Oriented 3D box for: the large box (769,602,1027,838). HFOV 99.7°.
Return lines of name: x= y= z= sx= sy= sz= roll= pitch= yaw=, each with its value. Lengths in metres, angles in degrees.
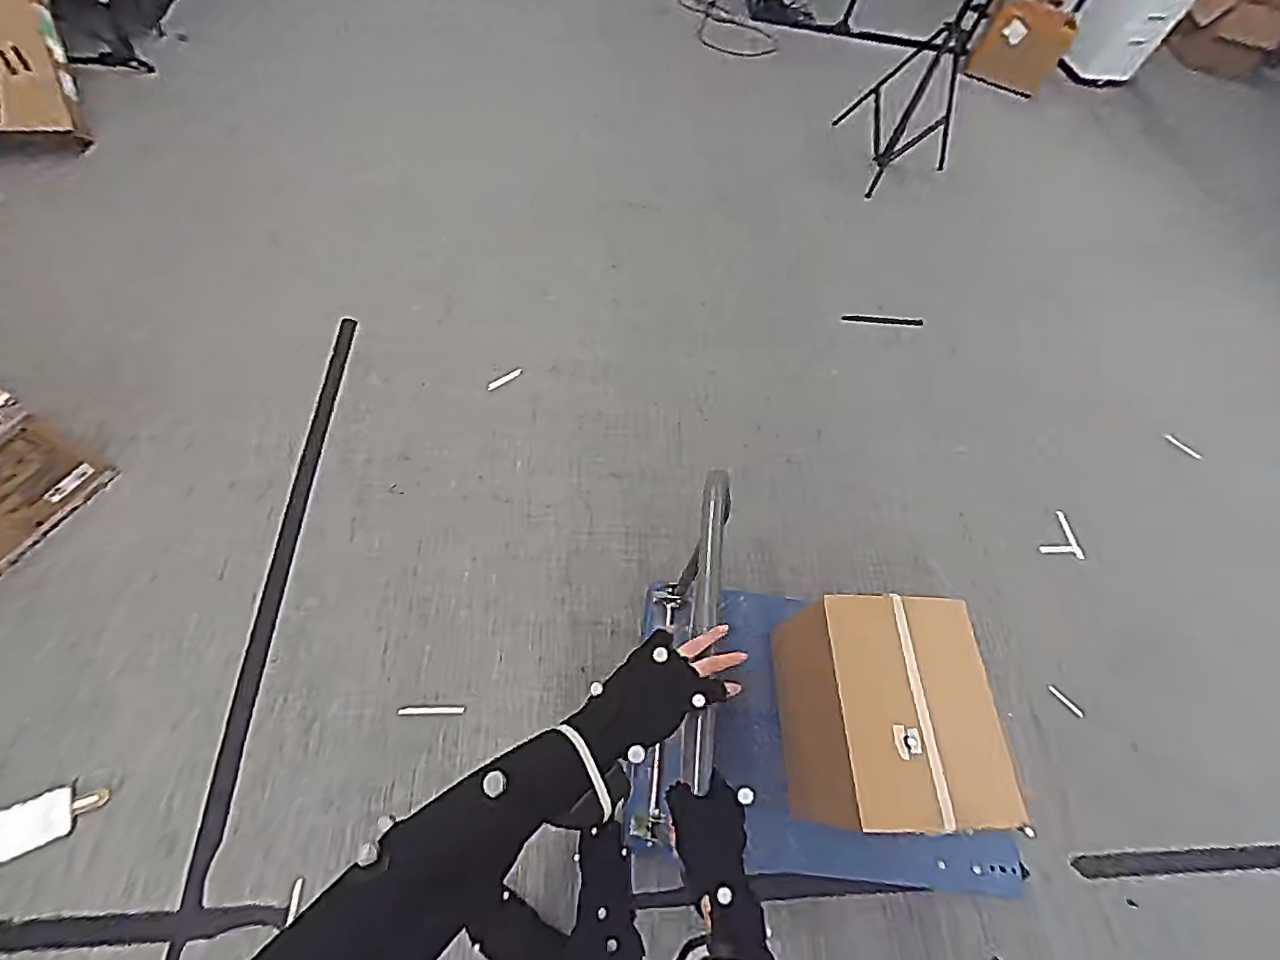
large box: x=0.493 y=0.492 z=1.136 sx=0.320 sy=0.320 sz=0.408 roll=3 pitch=62 yaw=-7
